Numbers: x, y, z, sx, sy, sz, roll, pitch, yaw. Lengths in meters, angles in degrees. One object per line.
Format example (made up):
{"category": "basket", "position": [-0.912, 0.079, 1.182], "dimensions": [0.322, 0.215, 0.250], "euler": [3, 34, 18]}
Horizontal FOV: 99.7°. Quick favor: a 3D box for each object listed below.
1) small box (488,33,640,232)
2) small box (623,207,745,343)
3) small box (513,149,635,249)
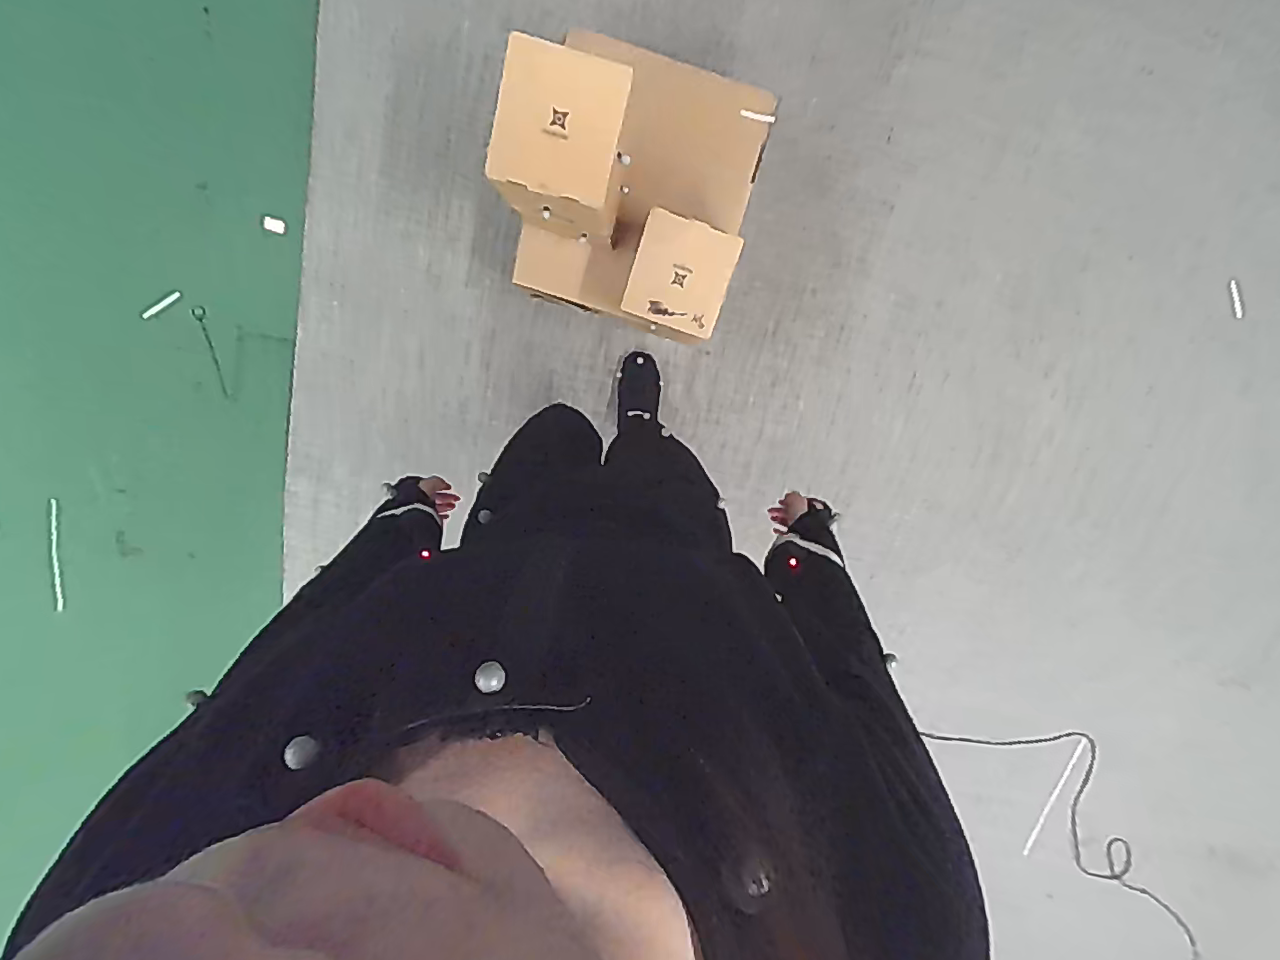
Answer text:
{"category": "small box", "position": [-0.102, -0.487, 0.789], "dimensions": [0.168, 0.176, 0.179], "euler": [16, 105, -3]}
{"category": "small box", "position": [0.071, -0.361, 0.985], "dimensions": [0.168, 0.176, 0.179], "euler": [18, 103, -4]}
{"category": "small box", "position": [-0.107, -0.525, 0.948], "dimensions": [0.168, 0.176, 0.179], "euler": [17, 103, -3]}
